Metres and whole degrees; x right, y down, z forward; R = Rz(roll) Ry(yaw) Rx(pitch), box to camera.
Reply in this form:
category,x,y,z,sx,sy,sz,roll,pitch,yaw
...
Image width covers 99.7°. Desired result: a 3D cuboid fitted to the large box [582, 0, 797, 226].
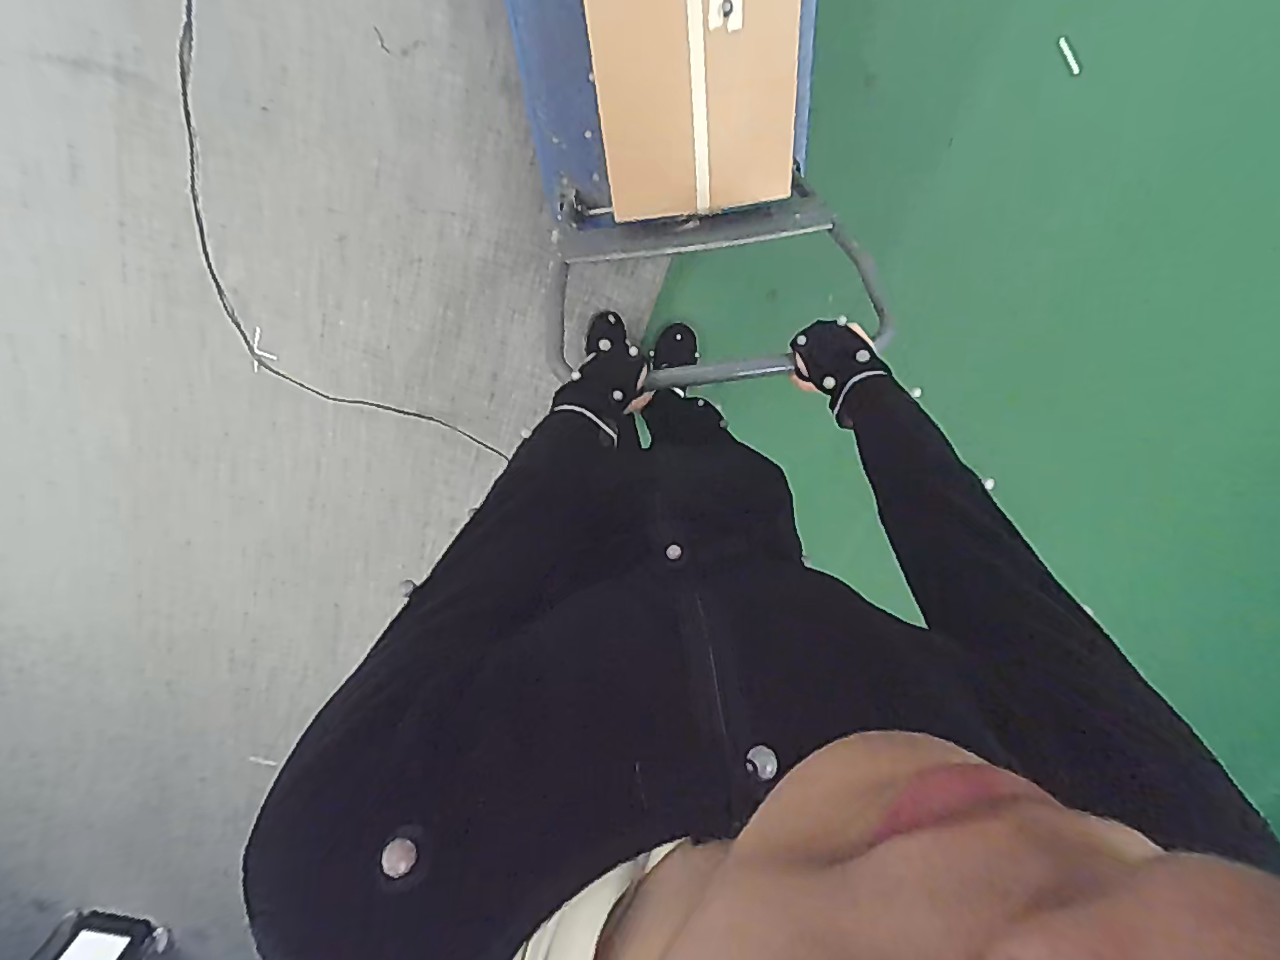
category,x,y,z,sx,sy,sz,roll,pitch,yaw
large box,0.082,-0.718,0.952,0.320,0.320,0.408,-7,129,3
